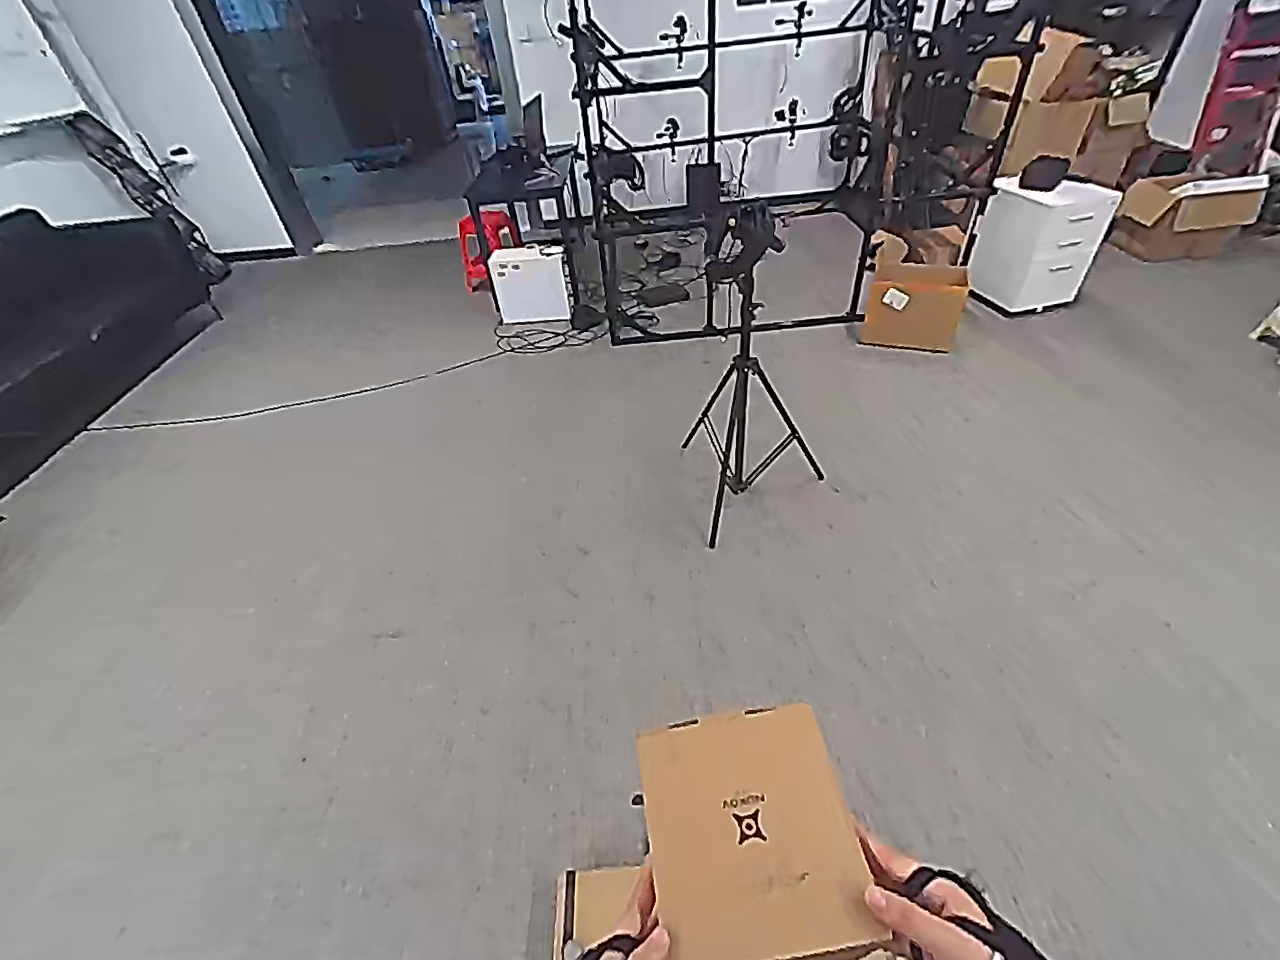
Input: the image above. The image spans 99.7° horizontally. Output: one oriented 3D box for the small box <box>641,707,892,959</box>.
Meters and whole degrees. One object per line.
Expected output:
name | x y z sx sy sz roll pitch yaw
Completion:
small box | 0.096 0.339 0.496 0.168 0.176 0.179 -9 44 -2
